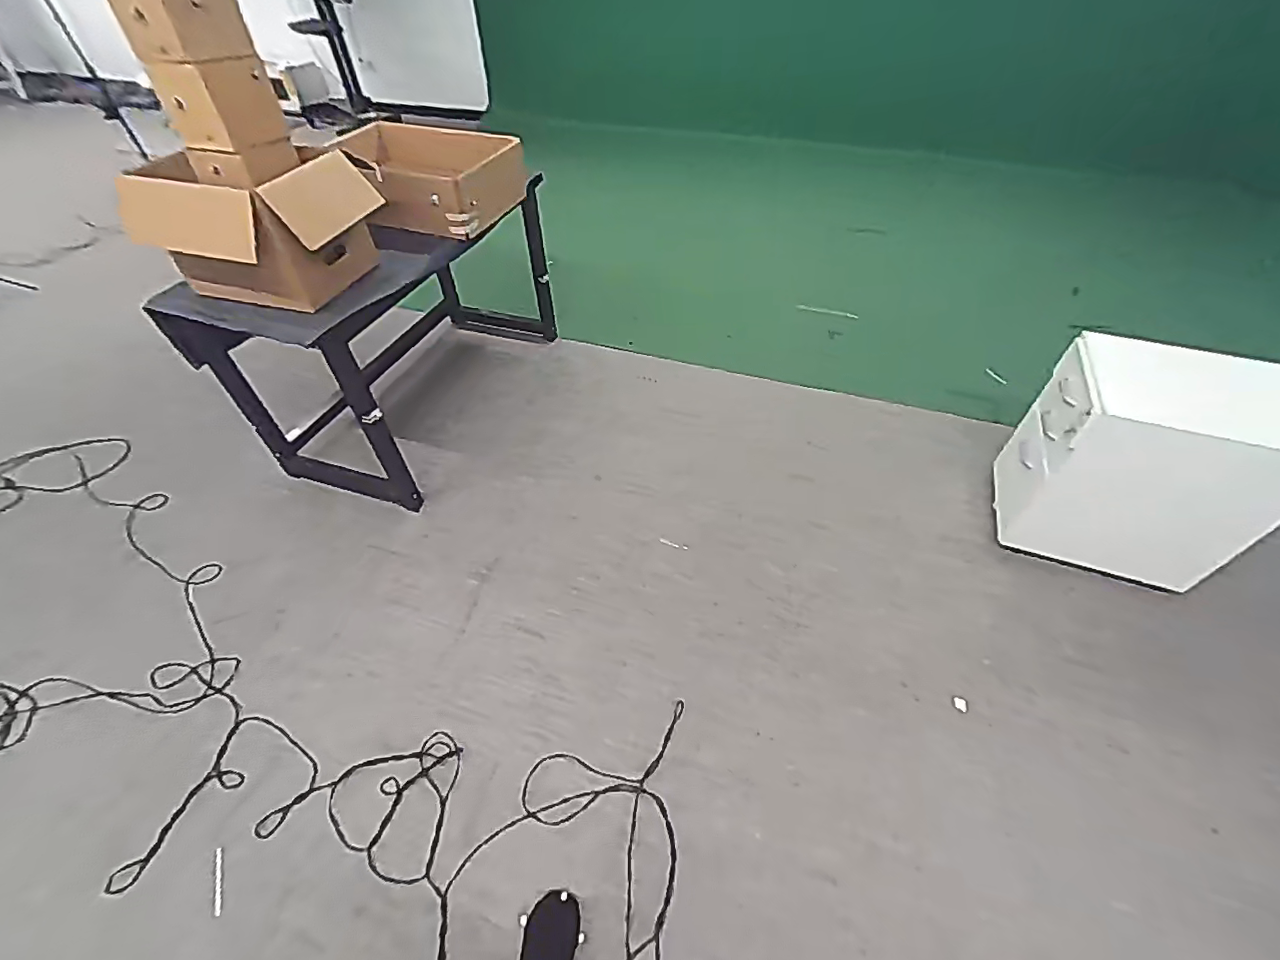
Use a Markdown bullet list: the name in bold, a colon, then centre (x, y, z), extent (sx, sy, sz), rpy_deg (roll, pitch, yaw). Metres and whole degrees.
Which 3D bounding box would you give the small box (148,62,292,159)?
- **small box**: centre (-0.979, -0.875, 1.280), extent (0.168, 0.176, 0.179), rpy_deg (13, 44, 15)

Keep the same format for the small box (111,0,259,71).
- **small box**: centre (-0.984, -0.996, 1.169), extent (0.168, 0.176, 0.179), rpy_deg (14, 45, 16)
